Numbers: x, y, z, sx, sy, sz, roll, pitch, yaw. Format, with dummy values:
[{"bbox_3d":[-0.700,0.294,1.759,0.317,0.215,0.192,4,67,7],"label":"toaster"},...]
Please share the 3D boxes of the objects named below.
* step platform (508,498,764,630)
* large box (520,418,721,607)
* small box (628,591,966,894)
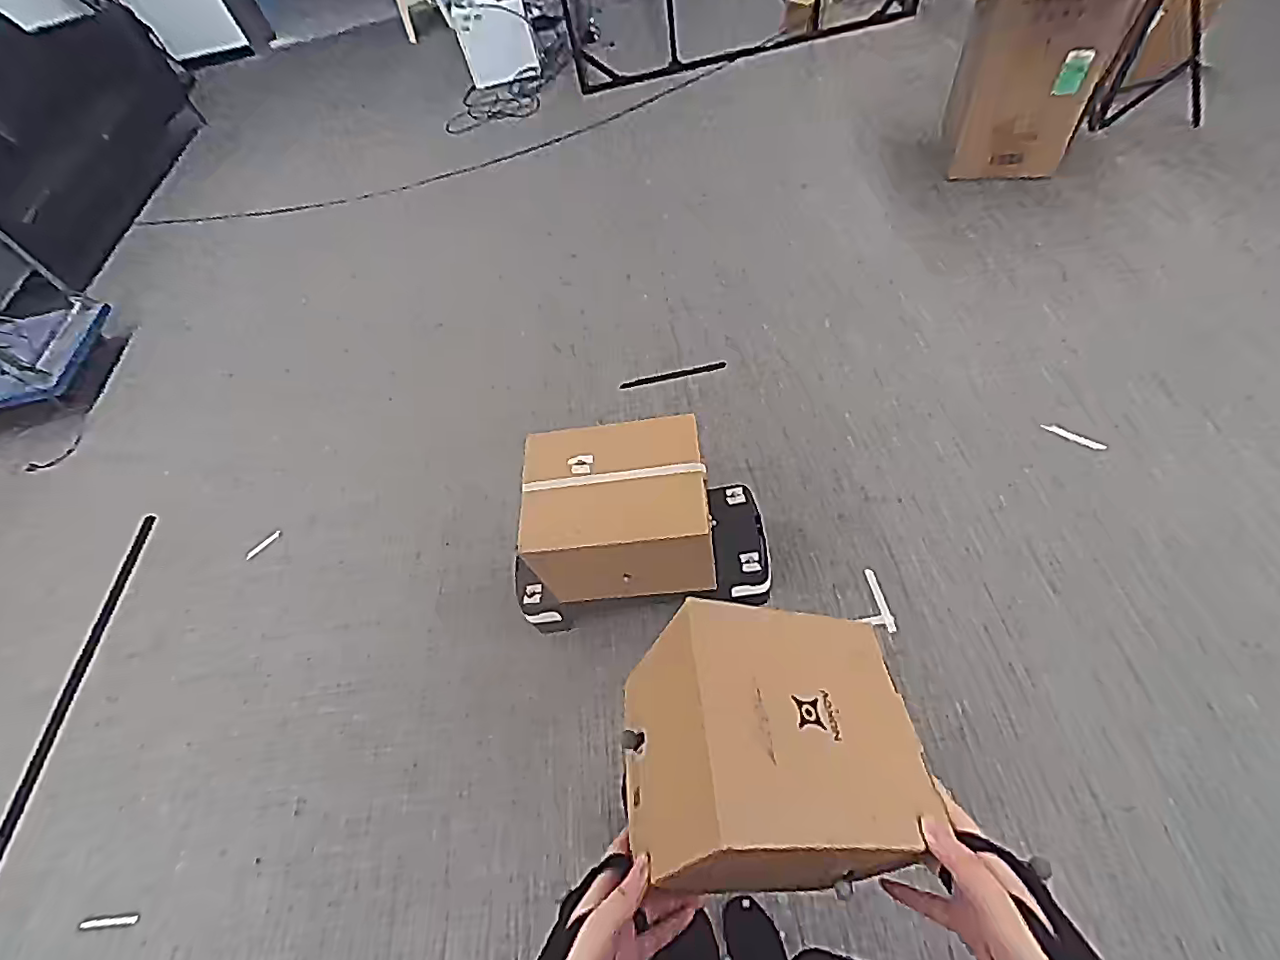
[{"bbox_3d":[-0.012,0.232,1.487,0.684,0.204,0.286,-6,57,9],"label":"step platform"},{"bbox_3d":[-0.033,0.092,1.293,0.408,0.320,0.320,-8,56,8],"label":"large box"},{"bbox_3d":[0.100,0.214,0.432,0.179,0.176,0.168,12,43,-15],"label":"small box"}]
